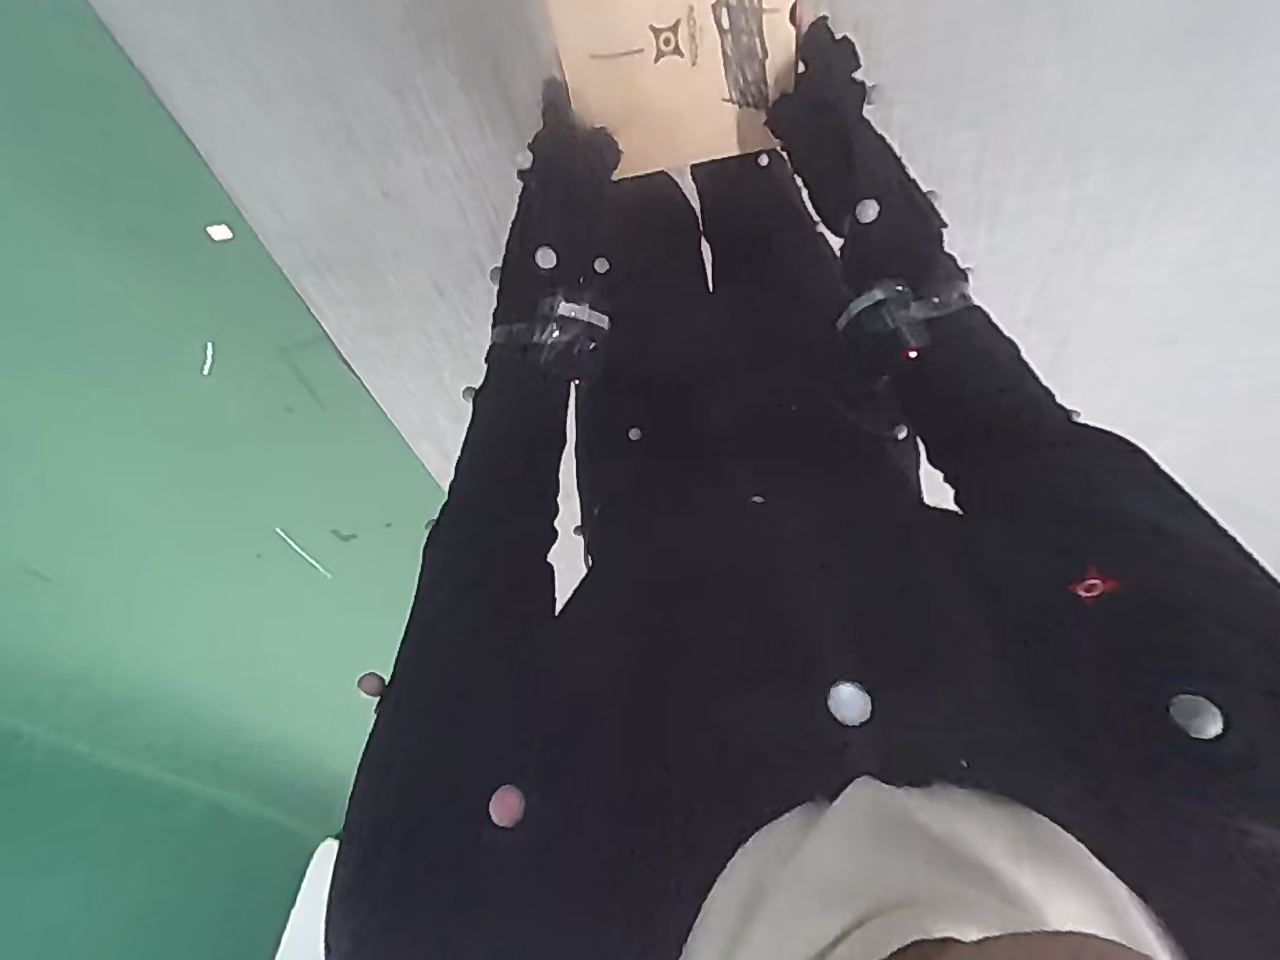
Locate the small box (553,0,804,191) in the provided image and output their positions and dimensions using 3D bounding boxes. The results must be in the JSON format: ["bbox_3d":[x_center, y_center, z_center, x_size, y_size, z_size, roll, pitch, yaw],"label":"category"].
[{"bbox_3d":[0.028,-0.379,0.455,0.179,0.176,0.168,-11,137,7],"label":"small box"}]
